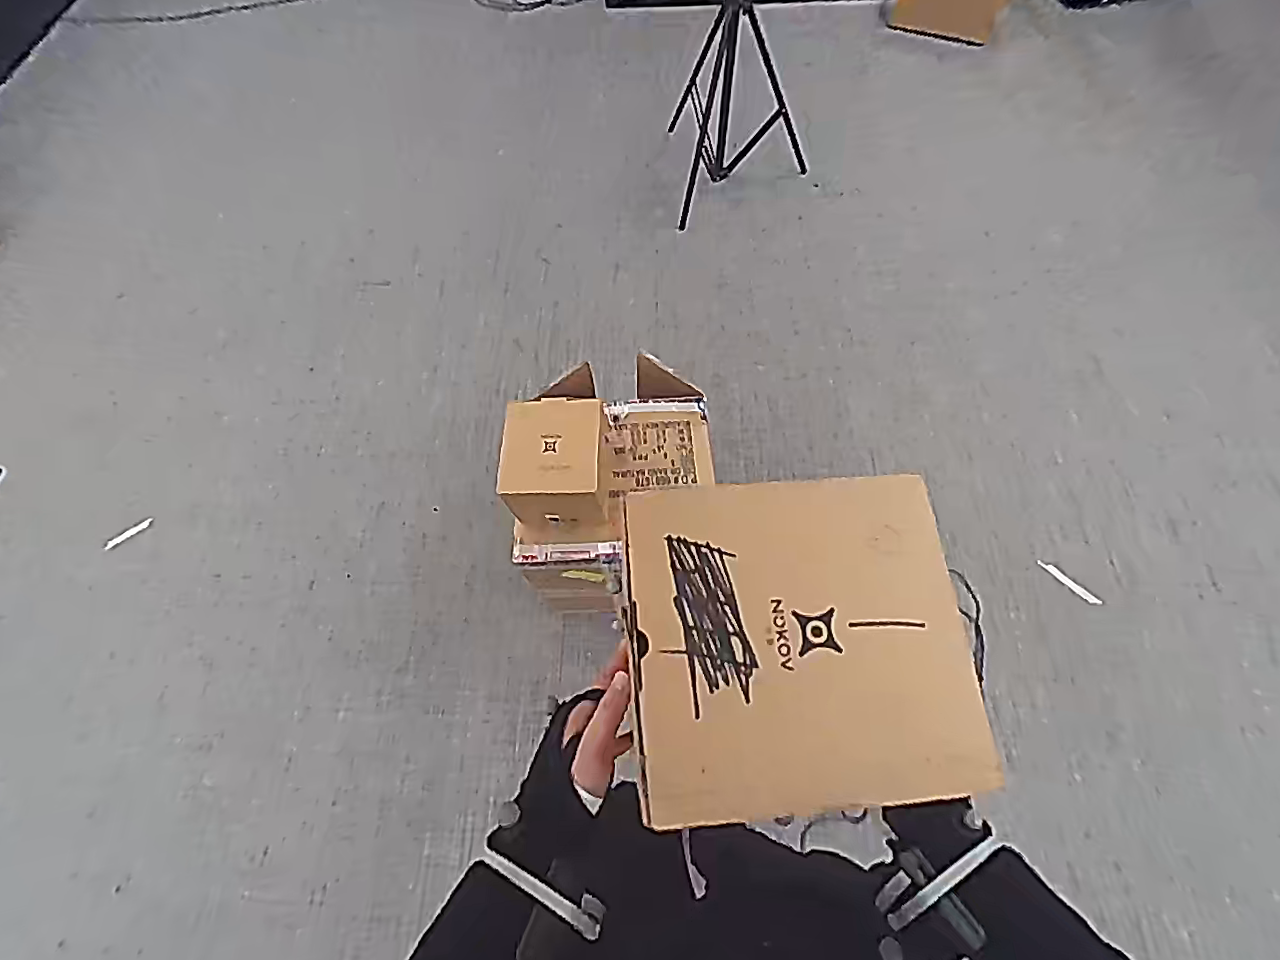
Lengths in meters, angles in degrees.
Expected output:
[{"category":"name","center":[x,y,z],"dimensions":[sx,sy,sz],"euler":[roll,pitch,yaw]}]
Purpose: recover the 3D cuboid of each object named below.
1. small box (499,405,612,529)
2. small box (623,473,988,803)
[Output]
[{"category":"small box","center":[-0.143,-0.019,0.977],"dimensions":[0.168,0.176,0.179],"euler":[-1,68,3]},{"category":"small box","center":[0.081,0.104,0.368],"dimensions":[0.179,0.176,0.168],"euler":[-4,71,-4]}]
